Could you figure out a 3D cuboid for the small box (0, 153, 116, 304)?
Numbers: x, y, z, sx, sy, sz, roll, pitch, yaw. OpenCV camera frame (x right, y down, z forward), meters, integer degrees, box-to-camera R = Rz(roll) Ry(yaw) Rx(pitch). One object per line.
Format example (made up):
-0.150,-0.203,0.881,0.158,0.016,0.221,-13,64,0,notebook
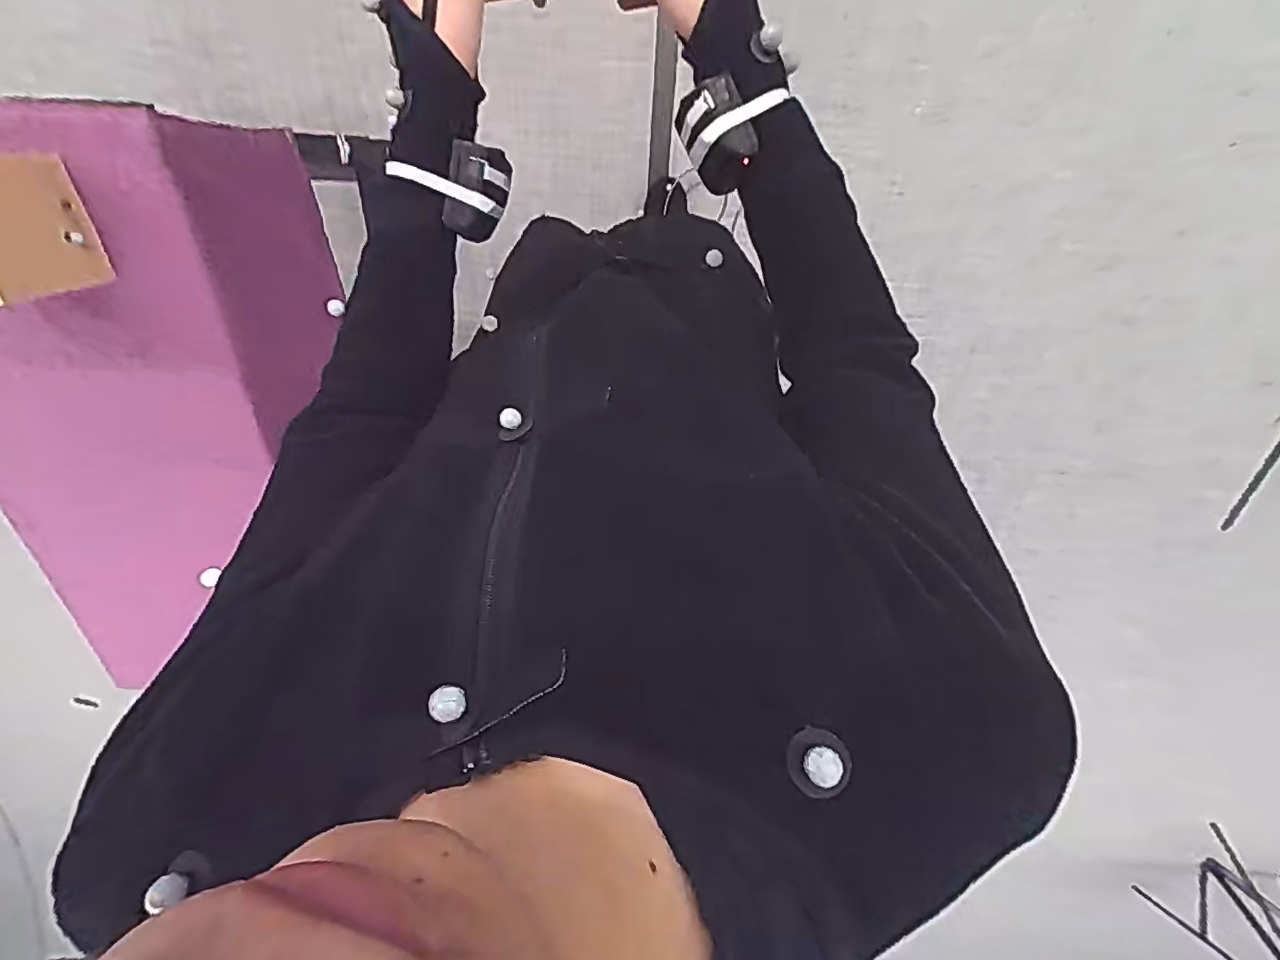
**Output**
-0.876,-0.335,0.713,0.179,0.176,0.168,1,122,5,small box
